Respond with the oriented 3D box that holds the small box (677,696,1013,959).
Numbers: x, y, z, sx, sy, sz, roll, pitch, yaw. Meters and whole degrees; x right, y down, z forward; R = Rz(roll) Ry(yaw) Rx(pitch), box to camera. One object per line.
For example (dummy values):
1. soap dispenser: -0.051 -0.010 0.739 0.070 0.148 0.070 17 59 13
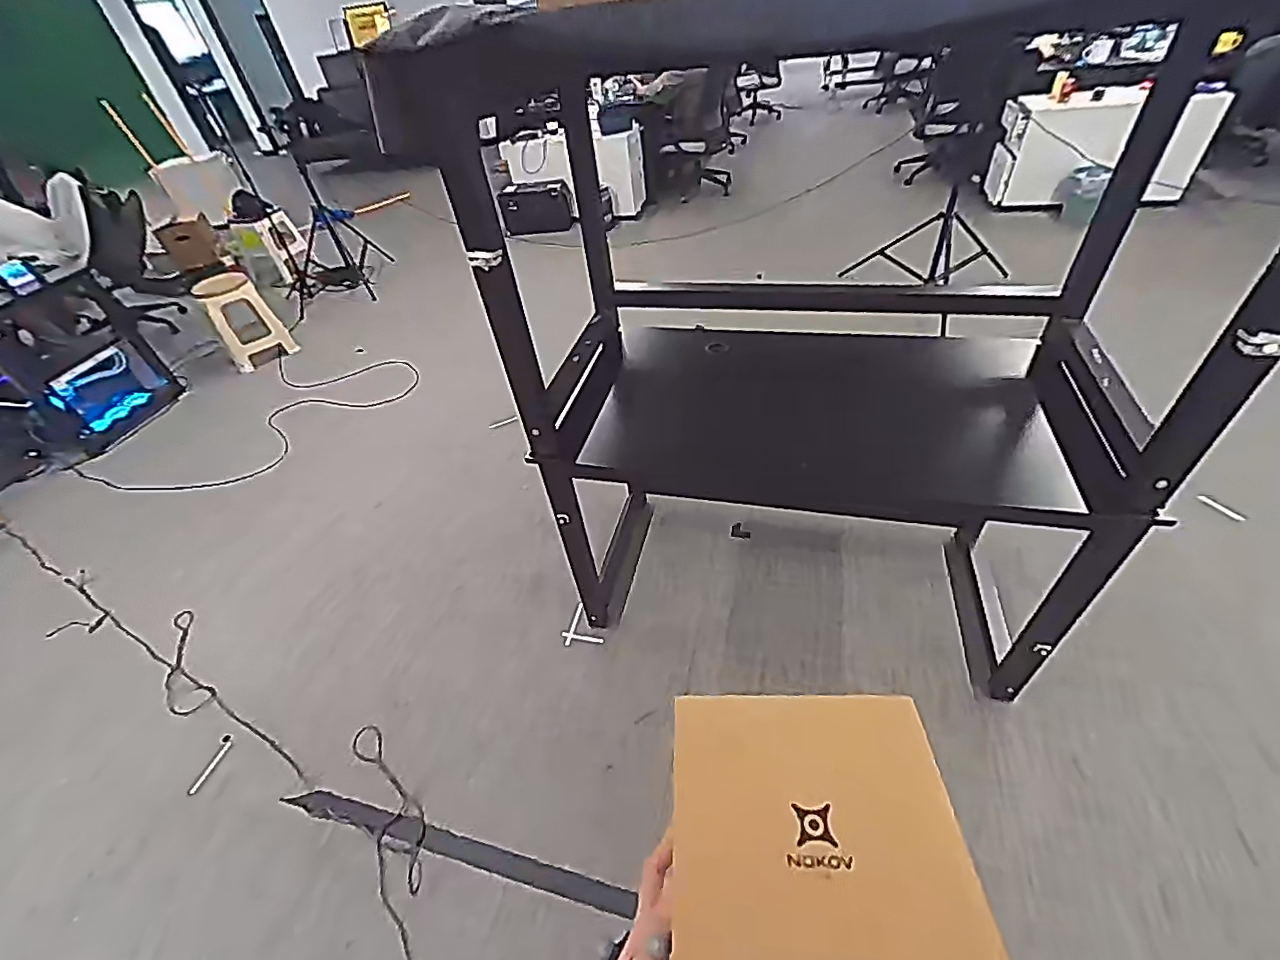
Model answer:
1. small box: 0.109 0.269 0.358 0.168 0.176 0.179 -2 37 5
